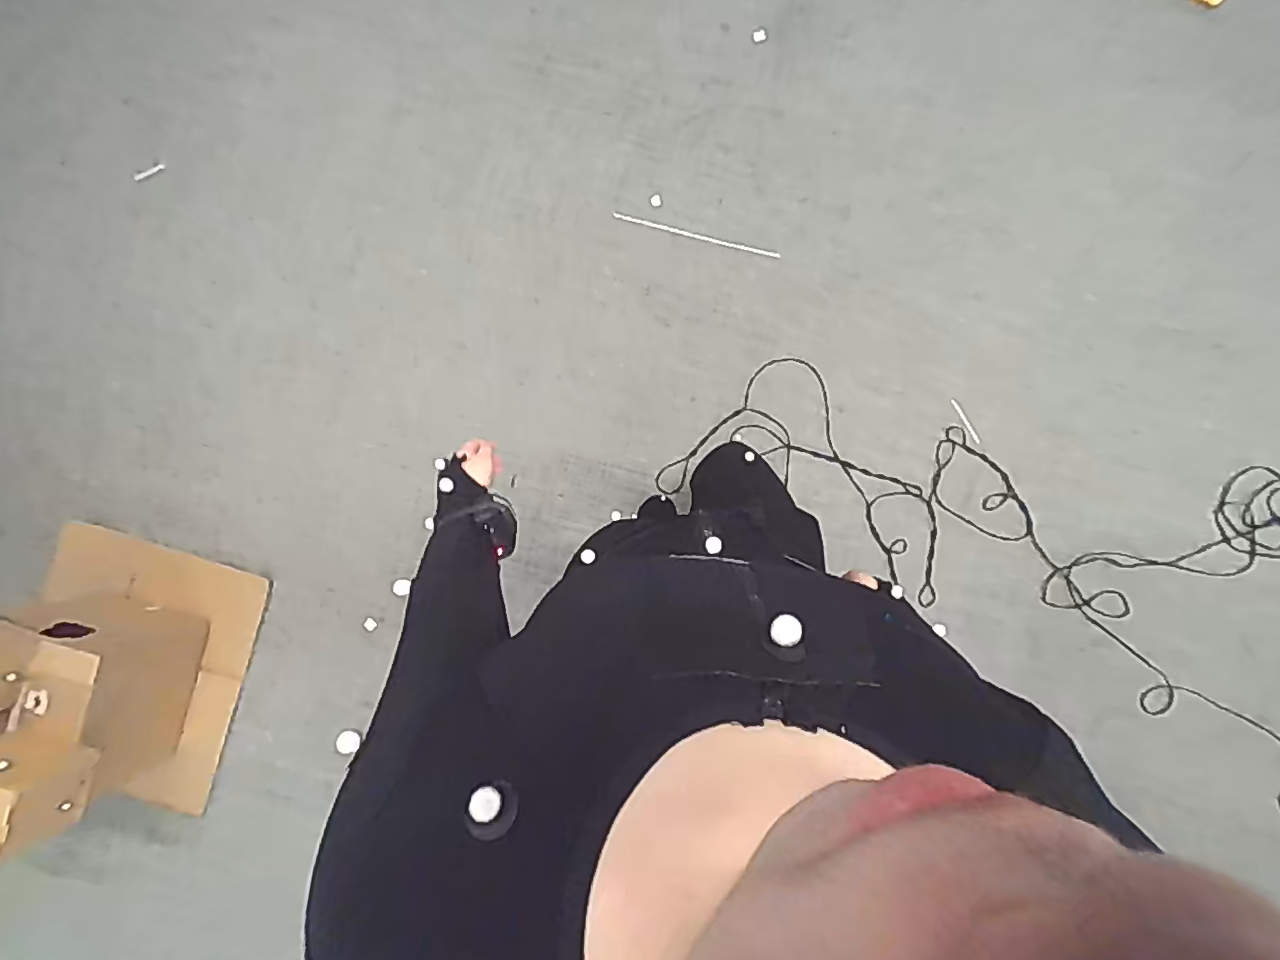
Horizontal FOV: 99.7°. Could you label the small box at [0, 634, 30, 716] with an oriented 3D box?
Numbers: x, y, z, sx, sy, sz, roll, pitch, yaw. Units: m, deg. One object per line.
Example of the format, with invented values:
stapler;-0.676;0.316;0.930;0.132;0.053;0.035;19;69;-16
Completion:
small box;-1.434;0.409;1.108;0.168;0.176;0.179;19;92;1
